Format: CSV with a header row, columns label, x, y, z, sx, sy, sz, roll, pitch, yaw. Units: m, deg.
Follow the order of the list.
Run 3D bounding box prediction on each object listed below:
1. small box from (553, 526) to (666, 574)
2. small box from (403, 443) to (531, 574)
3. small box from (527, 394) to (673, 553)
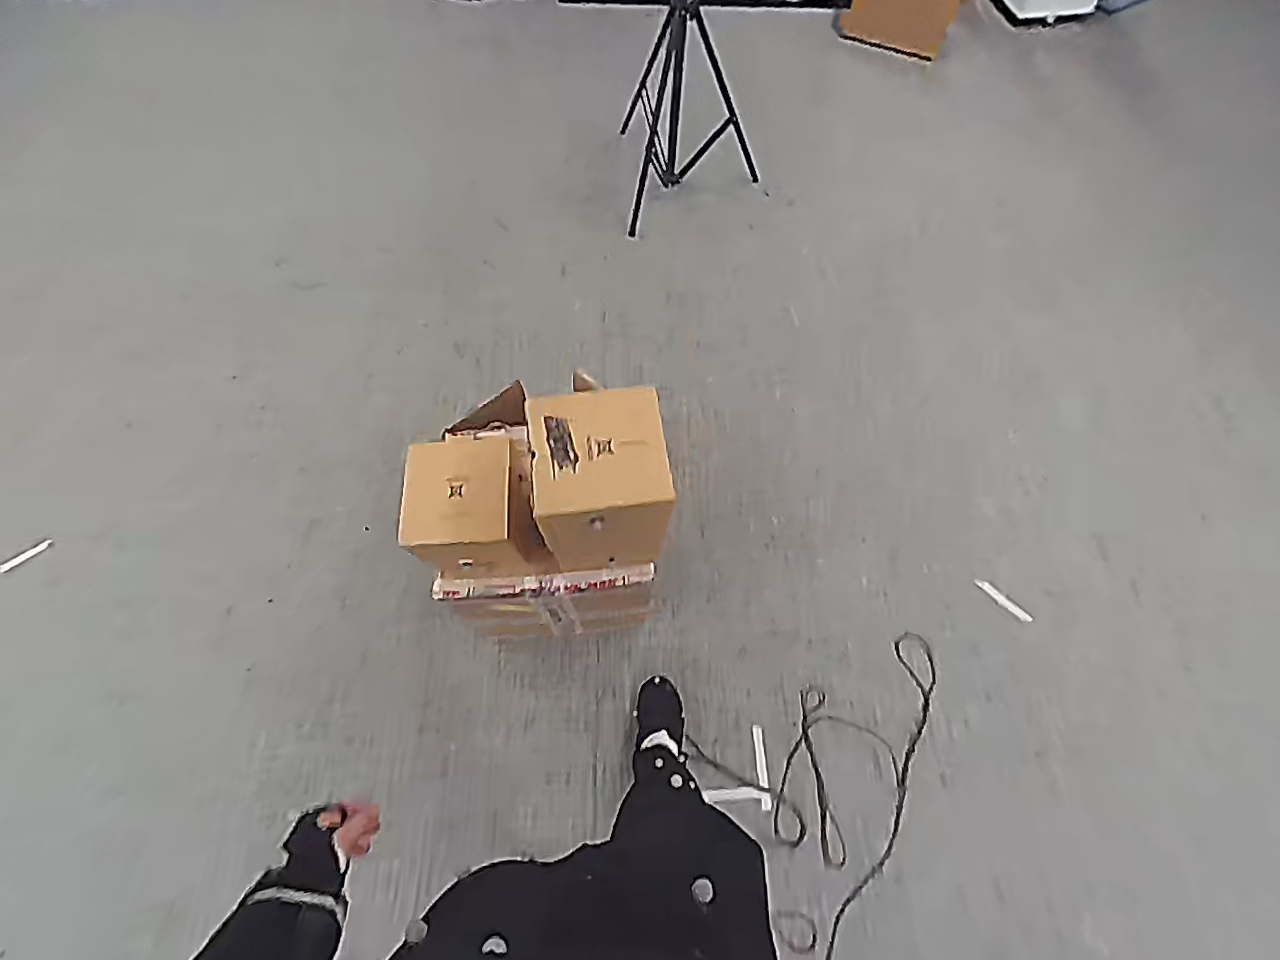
label,x,y,z,sx,sy,sz,roll,pitch,yaw
small box,-0.061,0.056,0.927,0.179,0.176,0.168,-7,68,-5
small box,-0.283,0.053,0.922,0.168,0.176,0.179,-4,69,-1
small box,-0.056,-0.002,0.772,0.179,0.176,0.168,-7,69,-5
